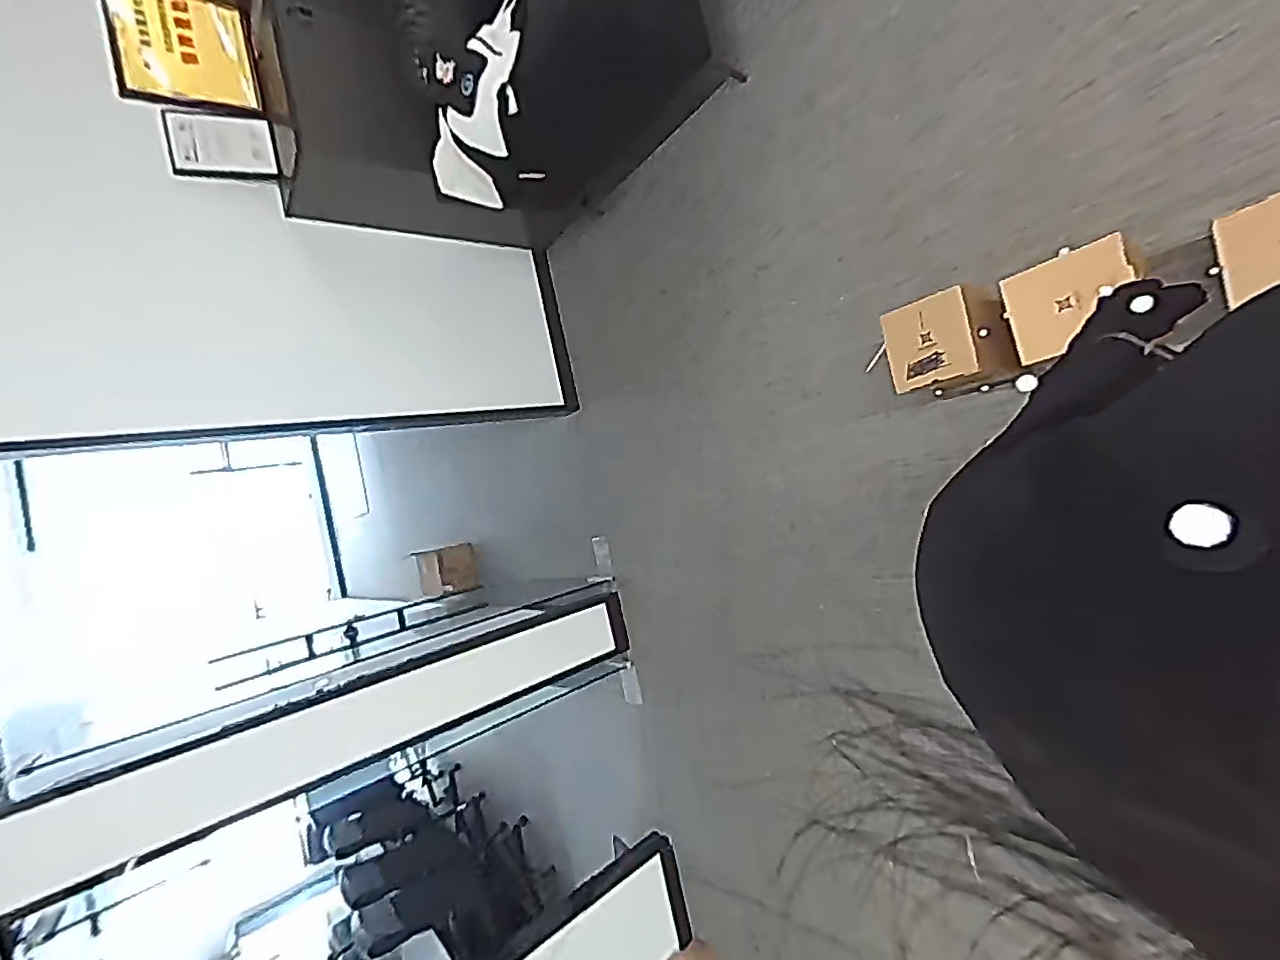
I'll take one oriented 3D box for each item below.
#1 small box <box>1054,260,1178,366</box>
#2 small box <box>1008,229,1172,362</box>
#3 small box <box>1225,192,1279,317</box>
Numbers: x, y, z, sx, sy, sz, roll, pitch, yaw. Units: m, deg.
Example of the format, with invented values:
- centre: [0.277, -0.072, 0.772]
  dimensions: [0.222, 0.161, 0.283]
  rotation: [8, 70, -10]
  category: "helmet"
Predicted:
- centre: [0.926, -0.334, 1.073]
  dimensions: [0.168, 0.176, 0.179]
  rotation: [-17, 84, 52]
  category: "small box"
- centre: [0.804, -0.316, 0.967]
  dimensions: [0.179, 0.176, 0.168]
  rotation: [-18, 84, 50]
  category: "small box"
- centre: [1.083, -0.376, 0.874]
  dimensions: [0.168, 0.176, 0.179]
  rotation: [-12, 89, 52]
  category: "small box"
